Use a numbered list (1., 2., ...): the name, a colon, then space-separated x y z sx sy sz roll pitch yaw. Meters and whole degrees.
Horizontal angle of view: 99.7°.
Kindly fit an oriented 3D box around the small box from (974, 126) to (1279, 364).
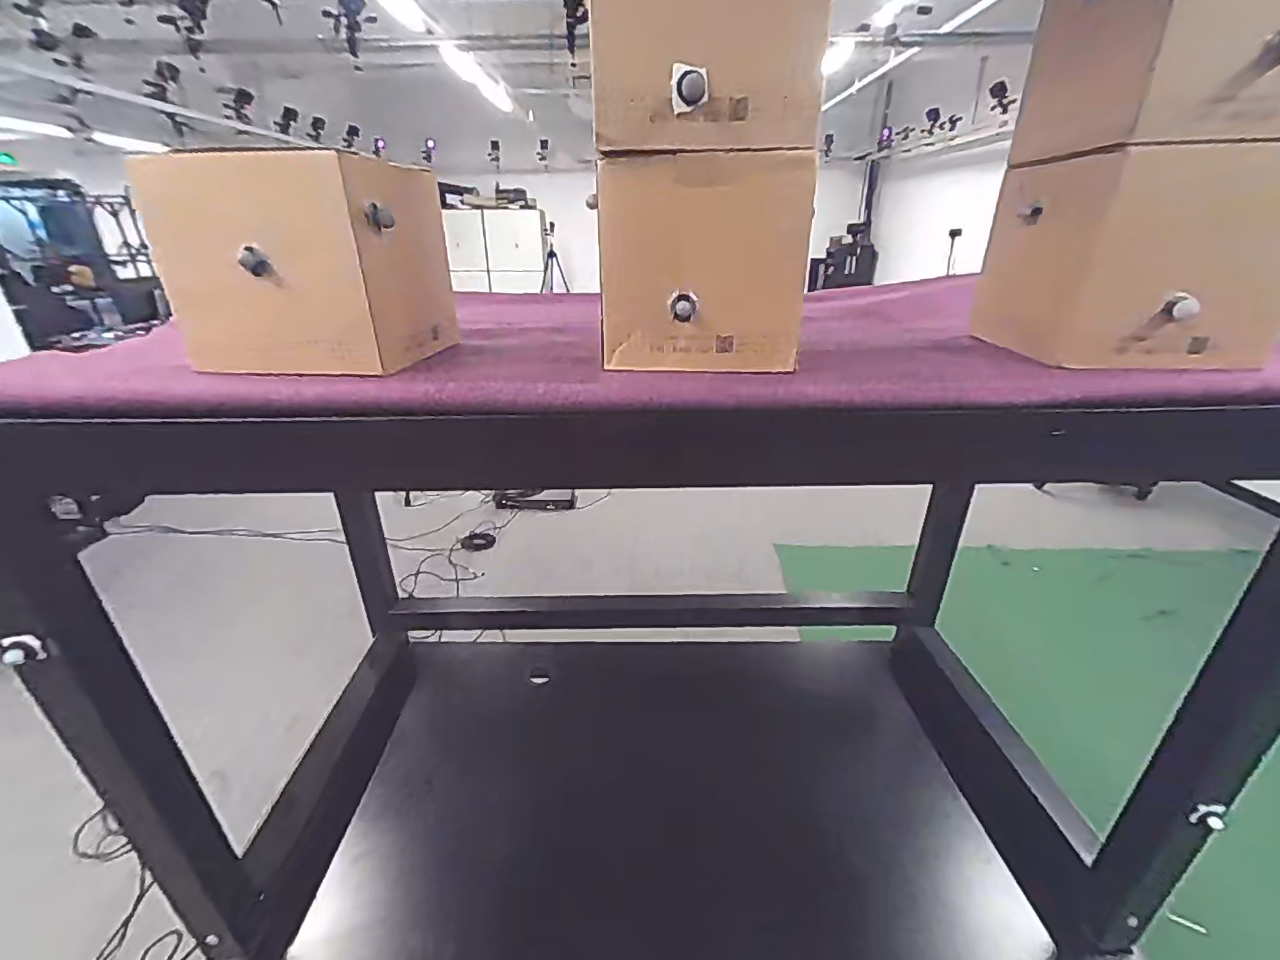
1. small box: 0.439 -0.209 0.491 0.168 0.176 0.179 1 26 6

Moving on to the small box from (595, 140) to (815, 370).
1. small box: 0.053 -0.206 0.504 0.168 0.176 0.179 1 25 4

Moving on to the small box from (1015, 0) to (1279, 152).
1. small box: 0.436 -0.359 0.422 0.168 0.176 0.179 0 25 6

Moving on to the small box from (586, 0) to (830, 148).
1. small box: 0.044 -0.351 0.434 0.168 0.176 0.179 -2 26 0
